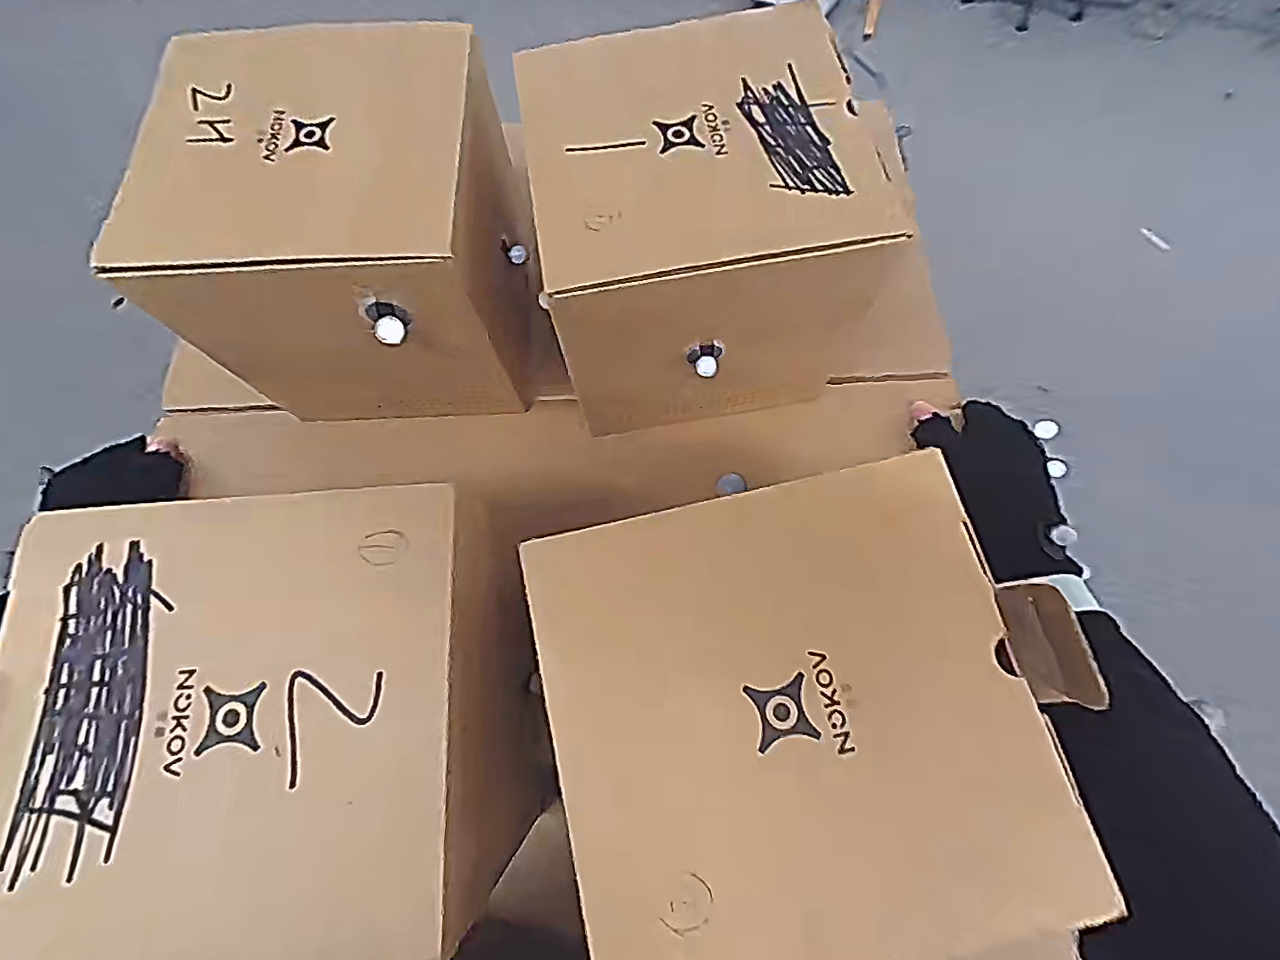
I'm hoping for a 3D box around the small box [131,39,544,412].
[{"bbox_3d":[-0.168,-0.156,0.371,0.179,0.176,0.168,0,70,2],"label":"small box"}]
